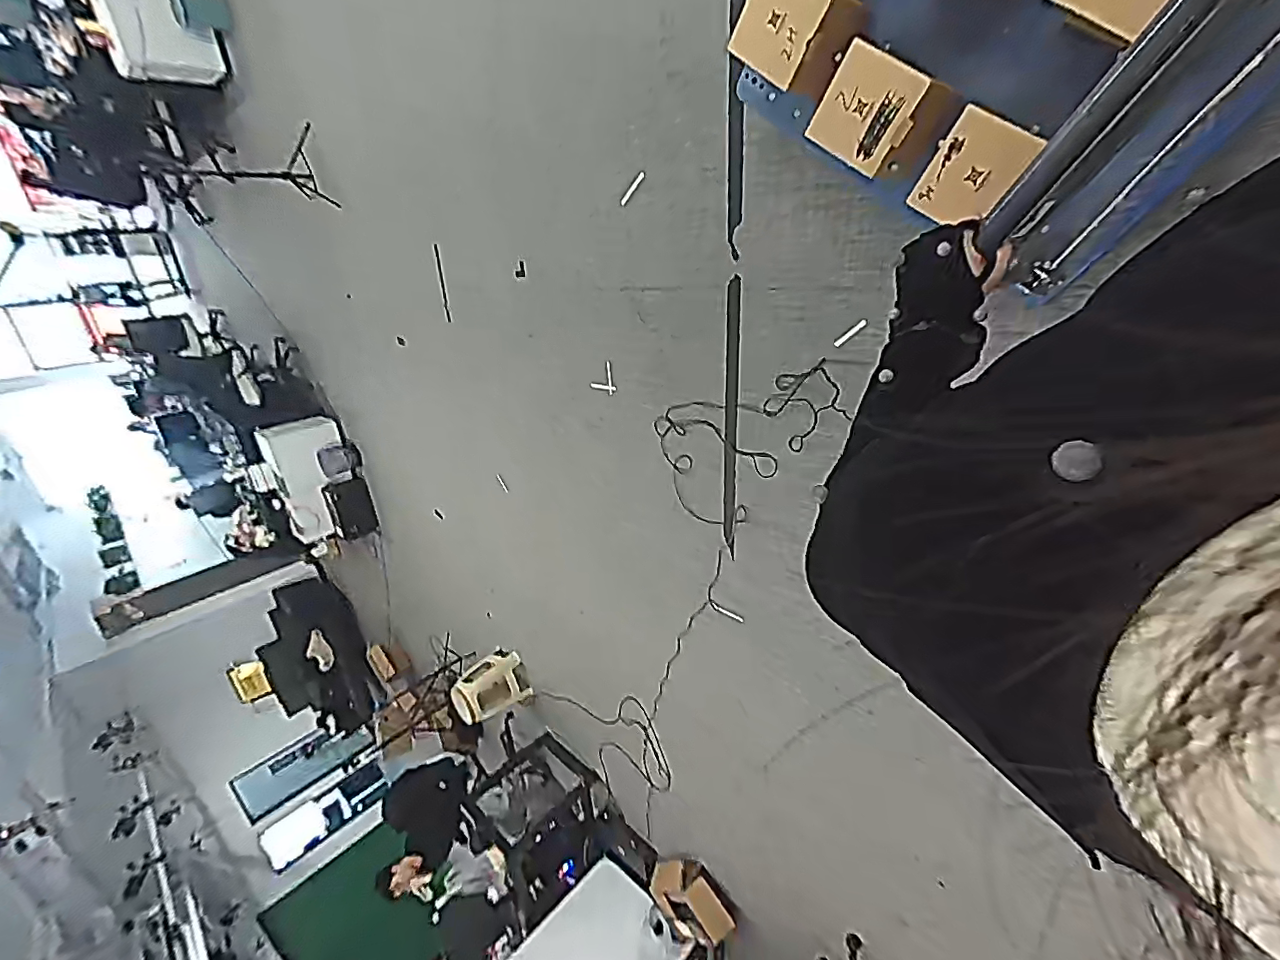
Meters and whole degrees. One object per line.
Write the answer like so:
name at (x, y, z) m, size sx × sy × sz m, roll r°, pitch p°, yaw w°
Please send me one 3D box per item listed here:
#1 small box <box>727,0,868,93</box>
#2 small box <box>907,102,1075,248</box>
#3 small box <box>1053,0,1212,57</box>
small box at (0.316, -0.911, 1.088) m, size 0.179 × 0.176 × 0.168 m, roll 48°, pitch 138°, yaw 16°
small box at (0.628, -0.541, 0.965) m, size 0.179 × 0.176 × 0.168 m, roll 44°, pitch 135°, yaw 20°
small box at (0.731, -0.732, 0.760) m, size 0.179 × 0.176 × 0.168 m, roll 48°, pitch 137°, yaw 17°
